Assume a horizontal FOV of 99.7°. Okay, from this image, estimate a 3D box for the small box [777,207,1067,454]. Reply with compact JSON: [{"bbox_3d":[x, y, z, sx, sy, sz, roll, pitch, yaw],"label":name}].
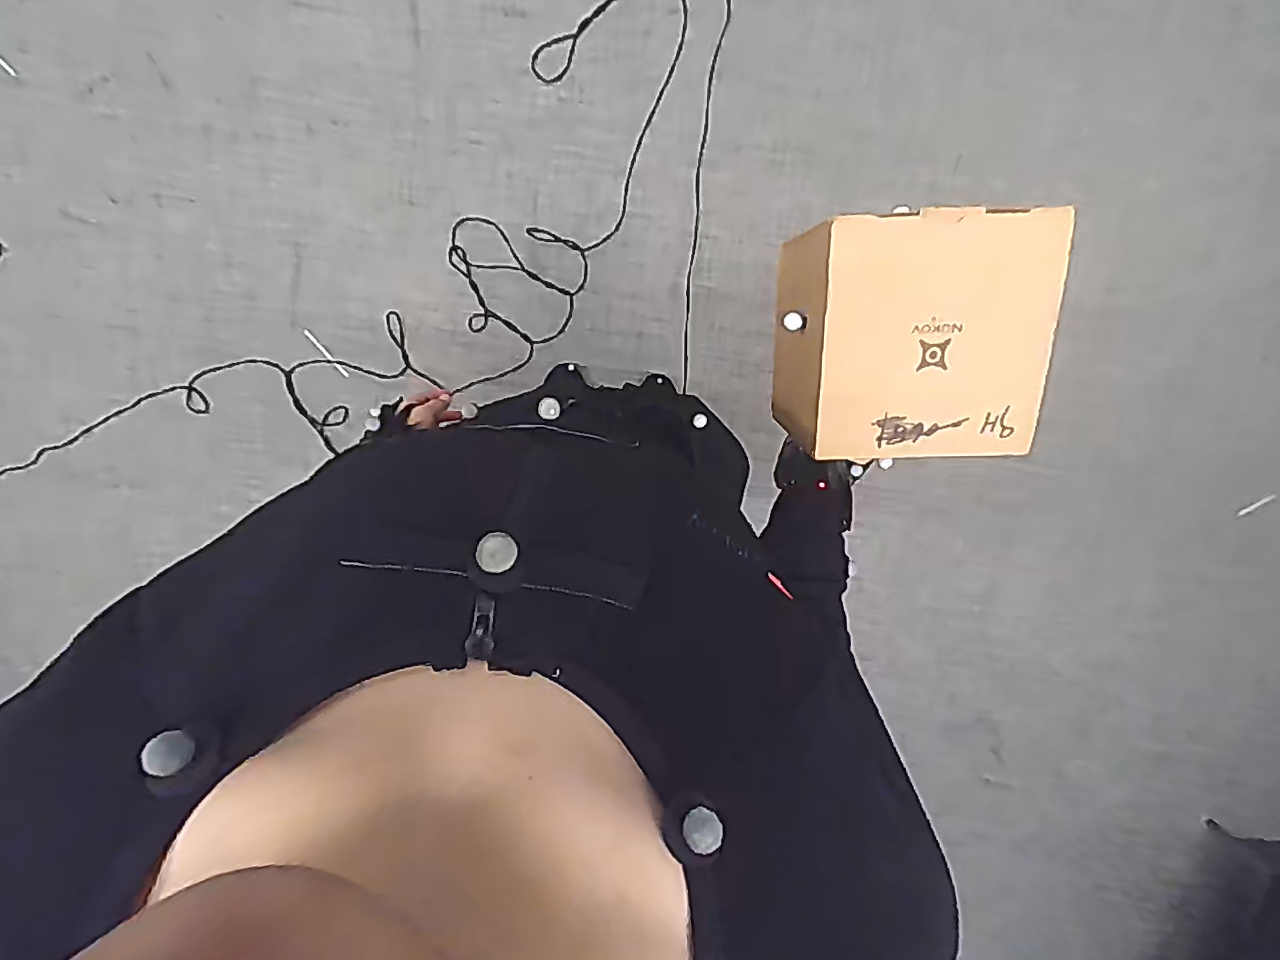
[{"bbox_3d":[0.222,-0.128,0.479,0.168,0.176,0.179,-2,107,3],"label":"small box"}]
